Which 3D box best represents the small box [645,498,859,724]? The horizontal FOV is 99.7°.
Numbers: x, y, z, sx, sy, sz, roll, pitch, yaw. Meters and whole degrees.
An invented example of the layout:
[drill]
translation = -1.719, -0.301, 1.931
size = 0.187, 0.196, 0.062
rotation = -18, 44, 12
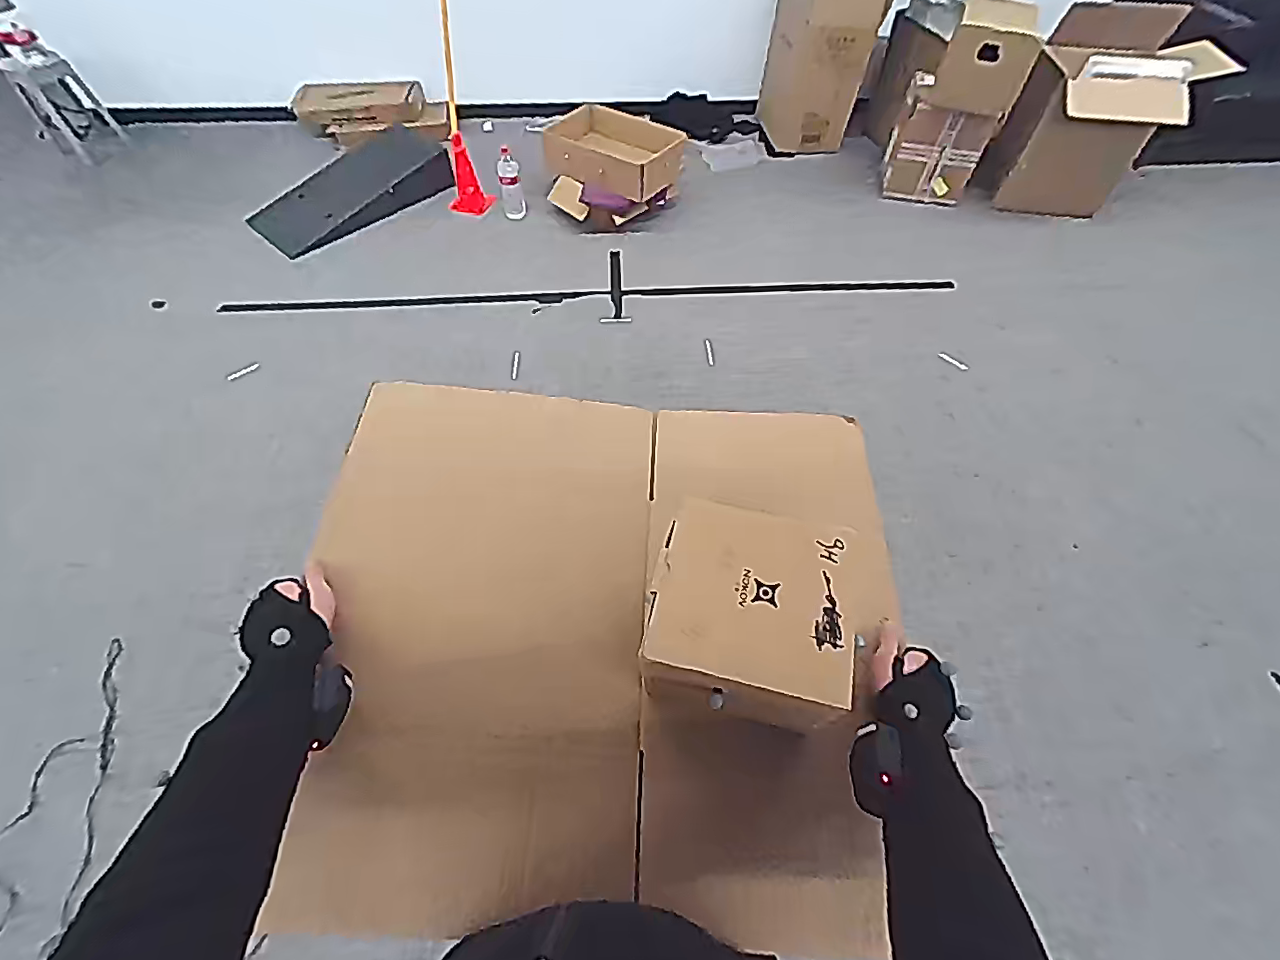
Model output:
[small box]
translation = 0.112, 0.141, 0.561
size = 0.179, 0.176, 0.168
rotation = 10, 60, 10
